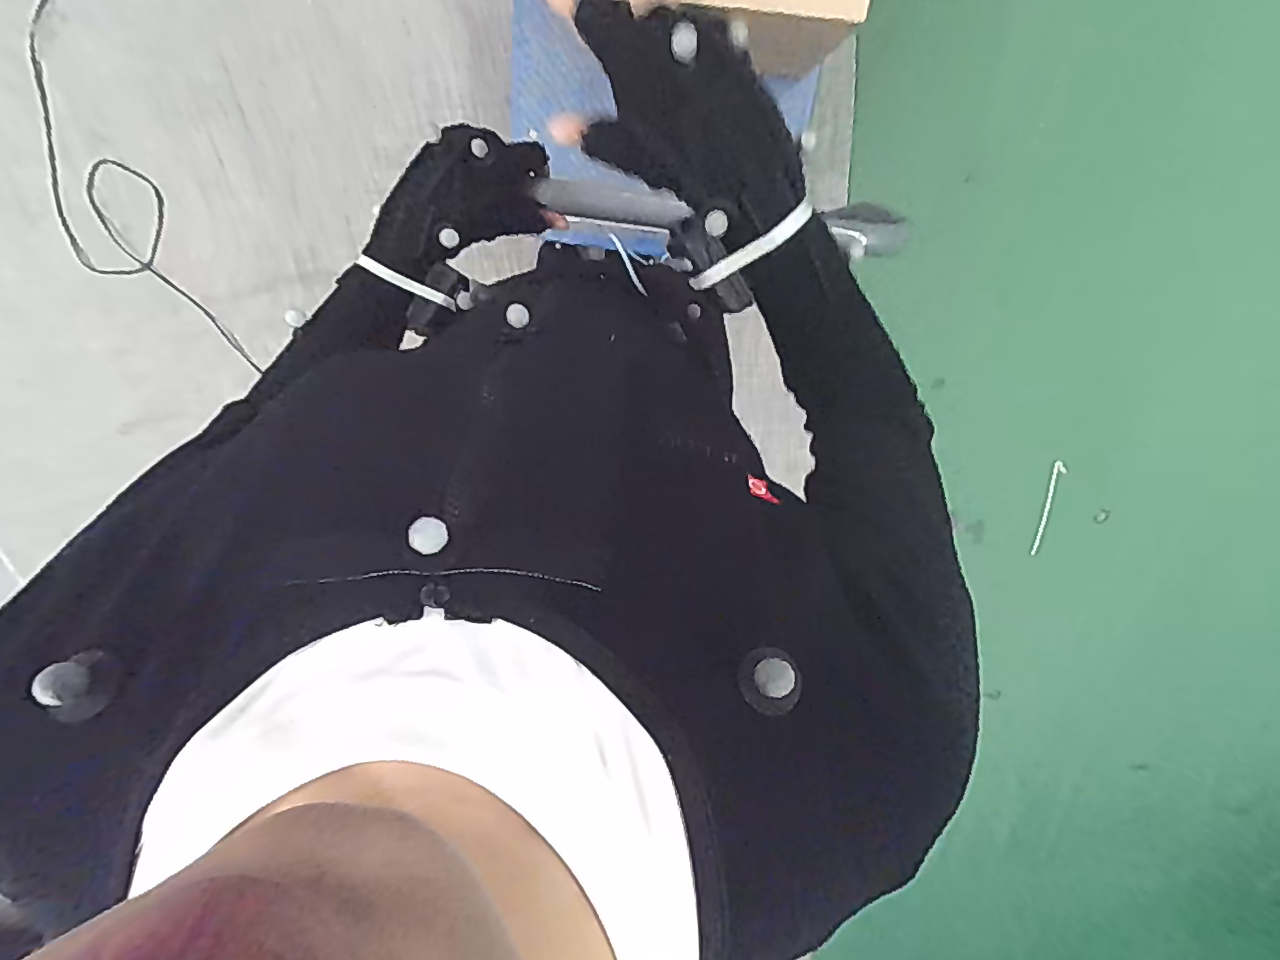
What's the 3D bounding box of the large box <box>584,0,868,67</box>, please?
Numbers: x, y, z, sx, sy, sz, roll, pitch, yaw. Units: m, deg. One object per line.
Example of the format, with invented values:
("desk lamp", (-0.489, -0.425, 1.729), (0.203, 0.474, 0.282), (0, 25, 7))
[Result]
("large box", (0.130, -0.859, 0.820), (0.408, 0.320, 0.320), (4, 115, -1))
